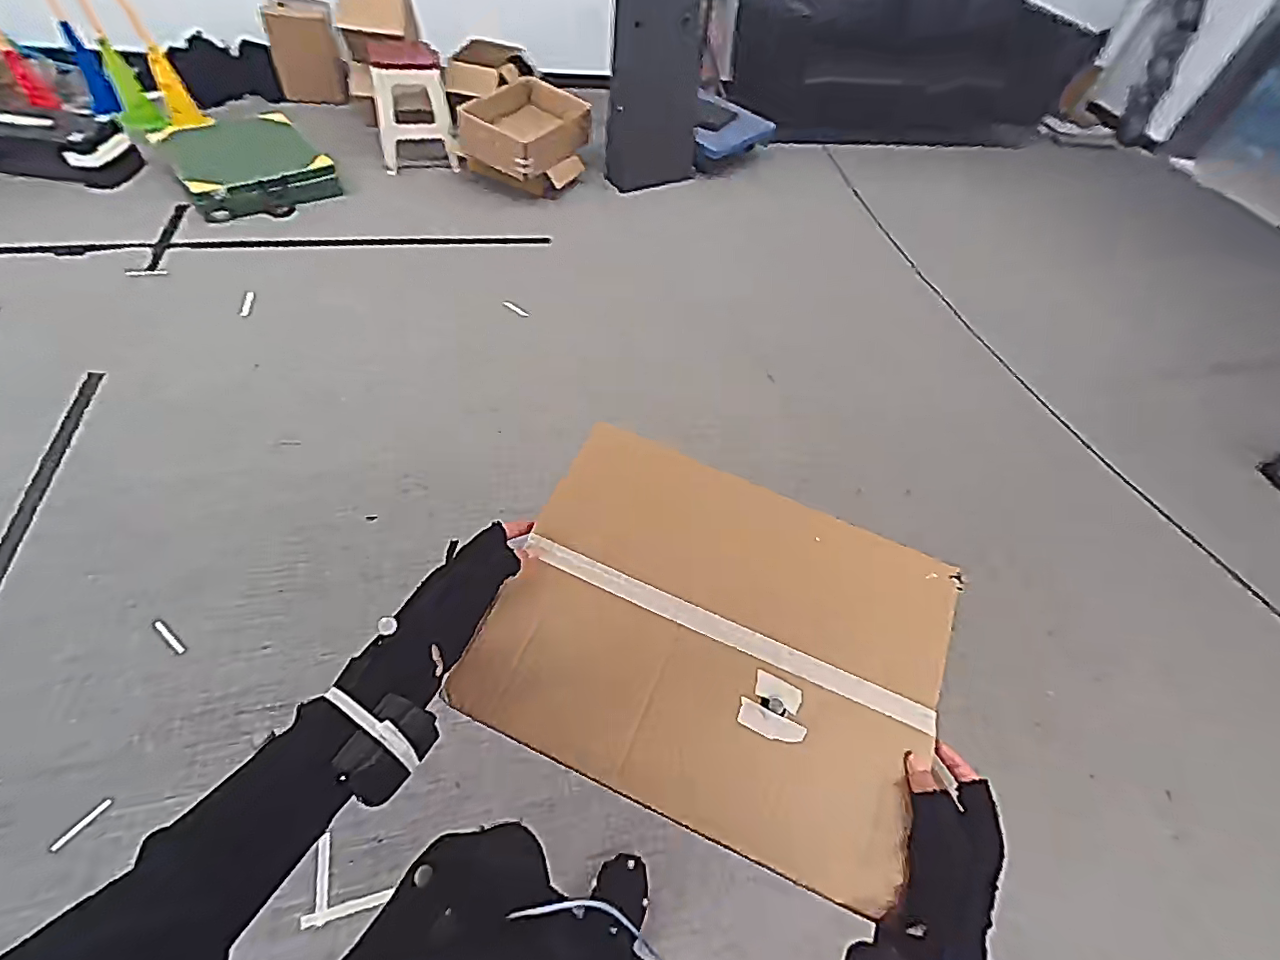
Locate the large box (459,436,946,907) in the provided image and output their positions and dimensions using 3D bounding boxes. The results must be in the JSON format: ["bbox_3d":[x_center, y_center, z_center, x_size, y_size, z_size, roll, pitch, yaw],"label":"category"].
[{"bbox_3d":[0.066,0.210,0.648,0.408,0.320,0.320,23,65,7],"label":"large box"}]
